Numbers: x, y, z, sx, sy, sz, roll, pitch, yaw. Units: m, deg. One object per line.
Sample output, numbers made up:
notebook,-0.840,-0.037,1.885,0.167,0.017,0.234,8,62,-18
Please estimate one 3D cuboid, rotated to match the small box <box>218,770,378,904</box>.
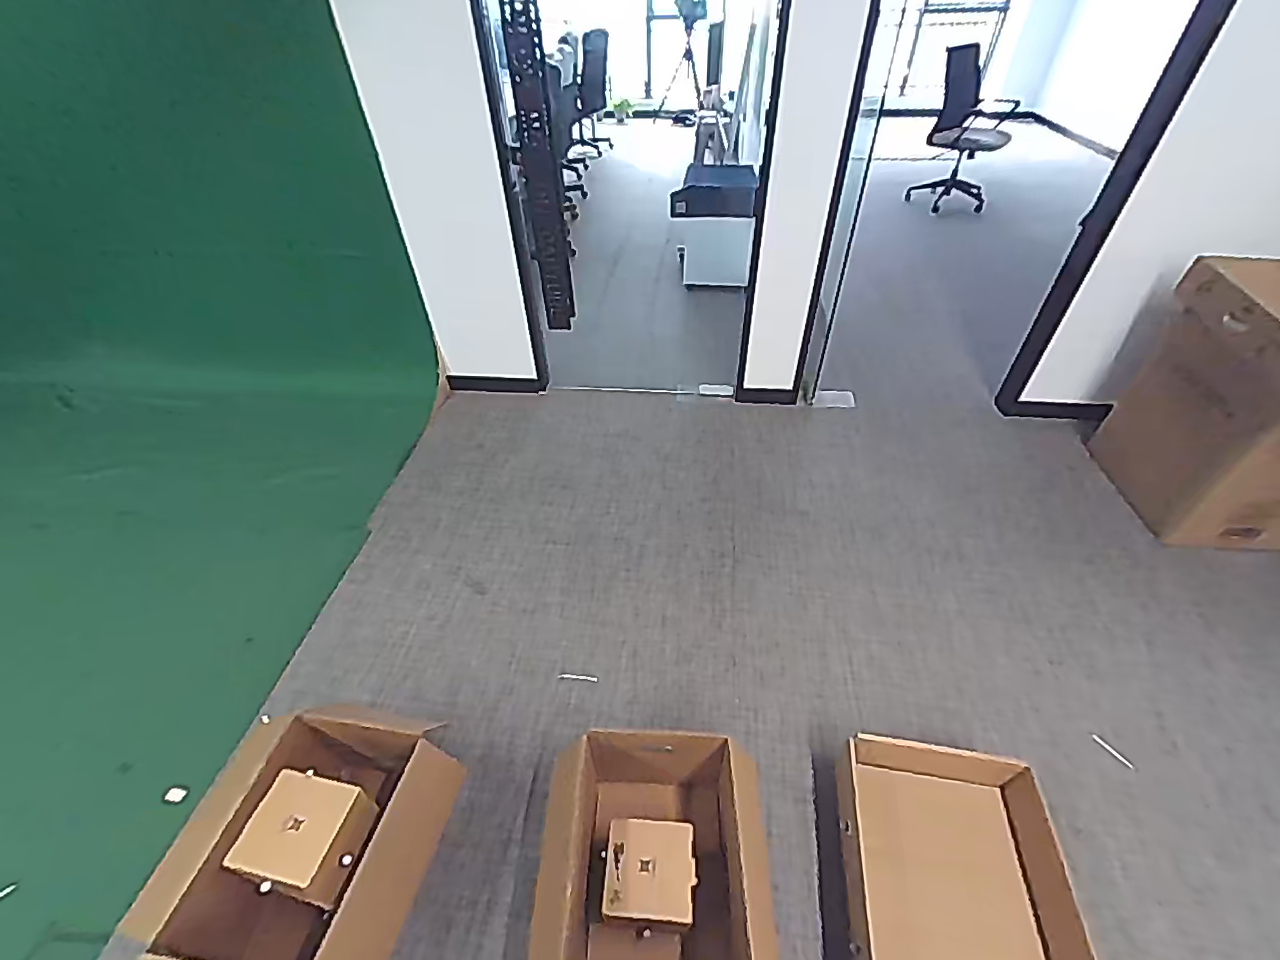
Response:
small box,-0.651,0.701,1.058,0.179,0.176,0.168,8,43,8
